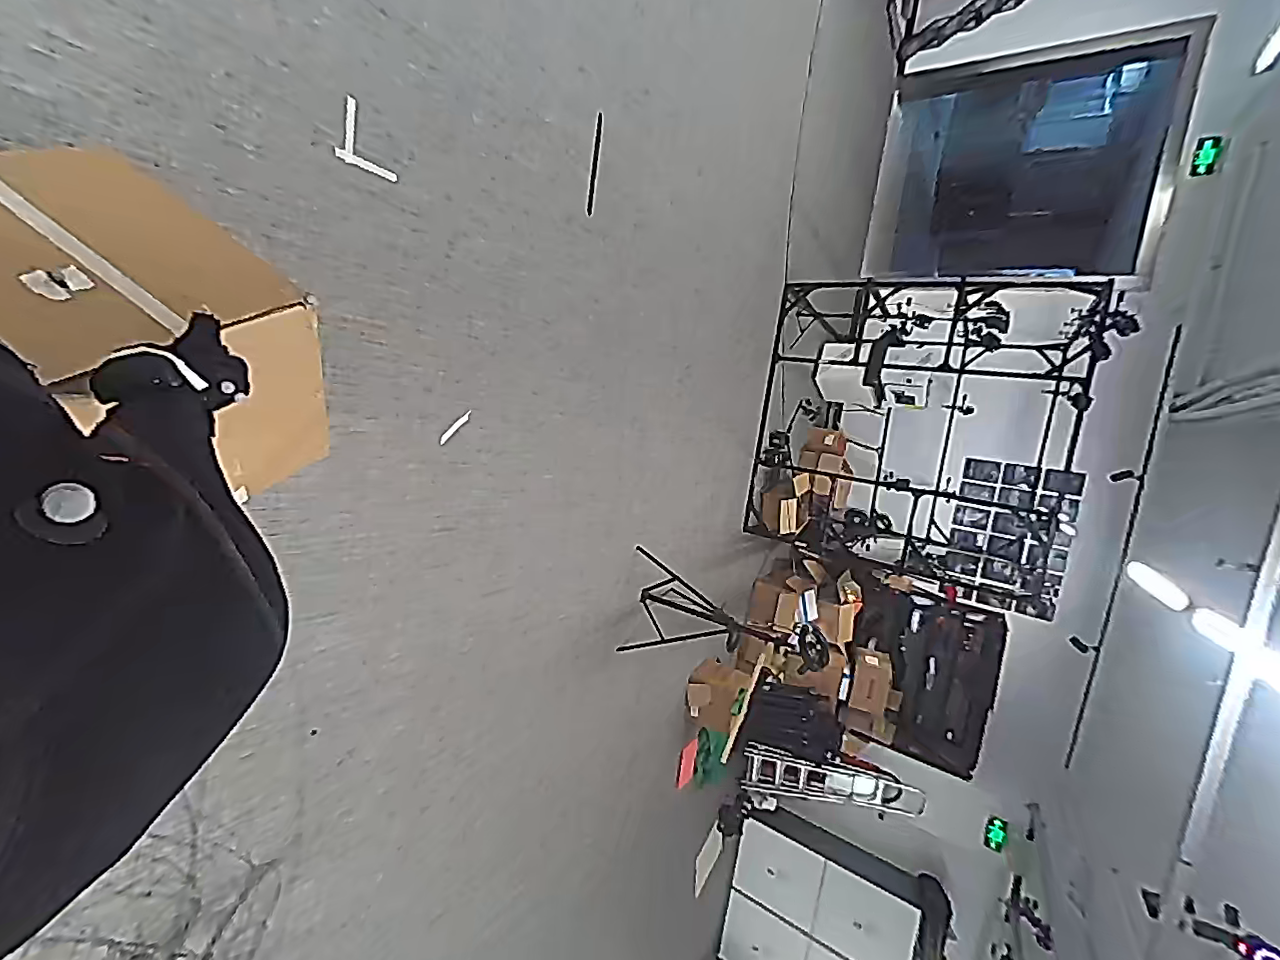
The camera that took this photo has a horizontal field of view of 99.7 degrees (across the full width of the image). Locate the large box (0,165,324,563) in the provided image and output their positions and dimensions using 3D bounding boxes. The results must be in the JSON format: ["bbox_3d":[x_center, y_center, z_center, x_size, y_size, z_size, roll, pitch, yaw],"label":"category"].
[{"bbox_3d":[-0.723,-0.167,0.750,0.320,0.408,0.320,-48,171,-44],"label":"large box"}]
